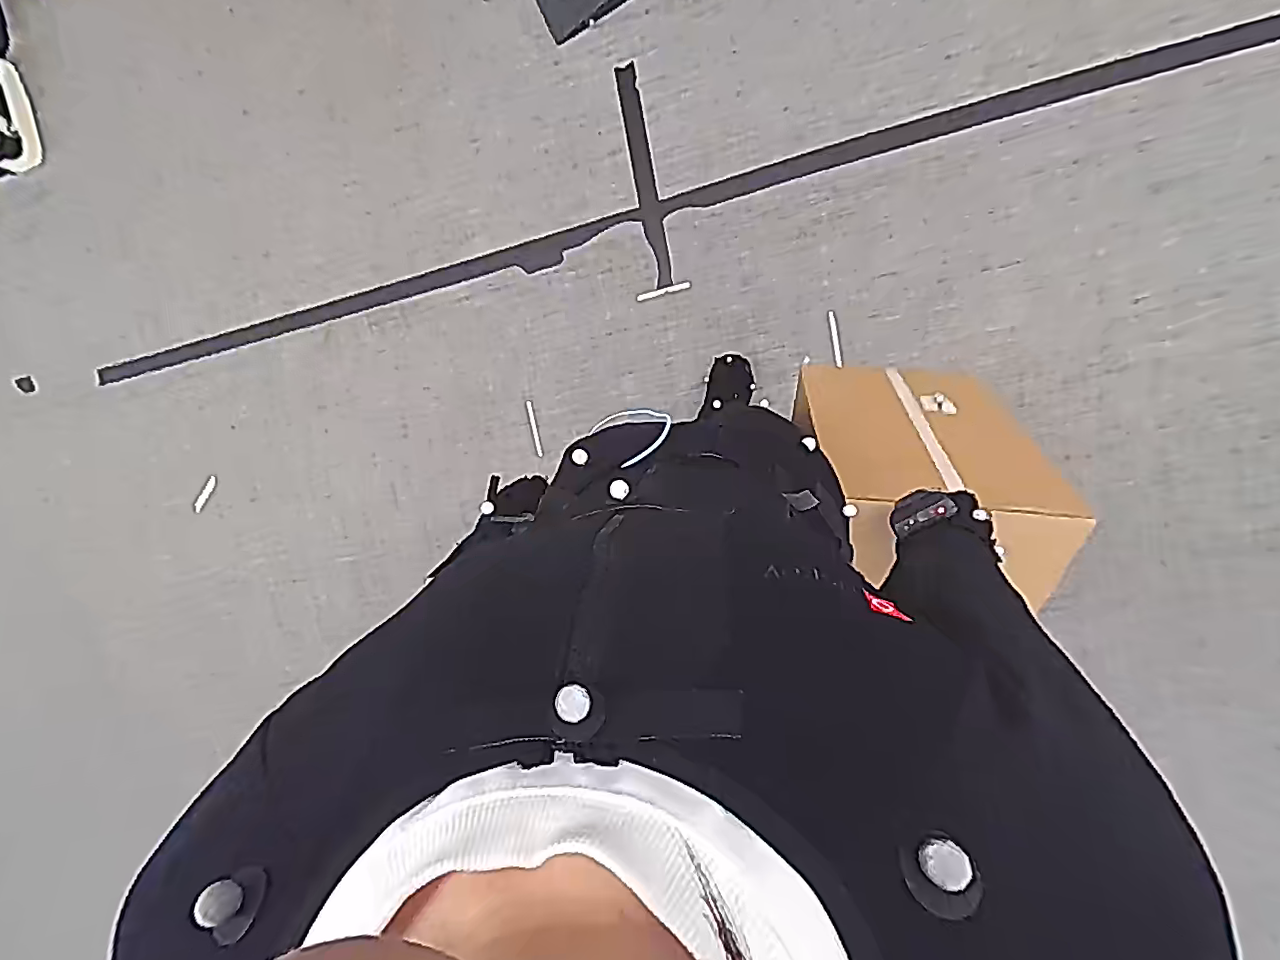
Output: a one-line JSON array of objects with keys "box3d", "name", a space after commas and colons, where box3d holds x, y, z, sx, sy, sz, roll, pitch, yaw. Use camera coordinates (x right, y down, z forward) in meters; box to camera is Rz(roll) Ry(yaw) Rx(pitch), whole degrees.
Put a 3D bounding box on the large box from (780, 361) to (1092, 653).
[{"box3d": [0.429, 0.030, 0.919, 0.320, 0.408, 0.320, 5, 127, 5], "name": "large box"}]
